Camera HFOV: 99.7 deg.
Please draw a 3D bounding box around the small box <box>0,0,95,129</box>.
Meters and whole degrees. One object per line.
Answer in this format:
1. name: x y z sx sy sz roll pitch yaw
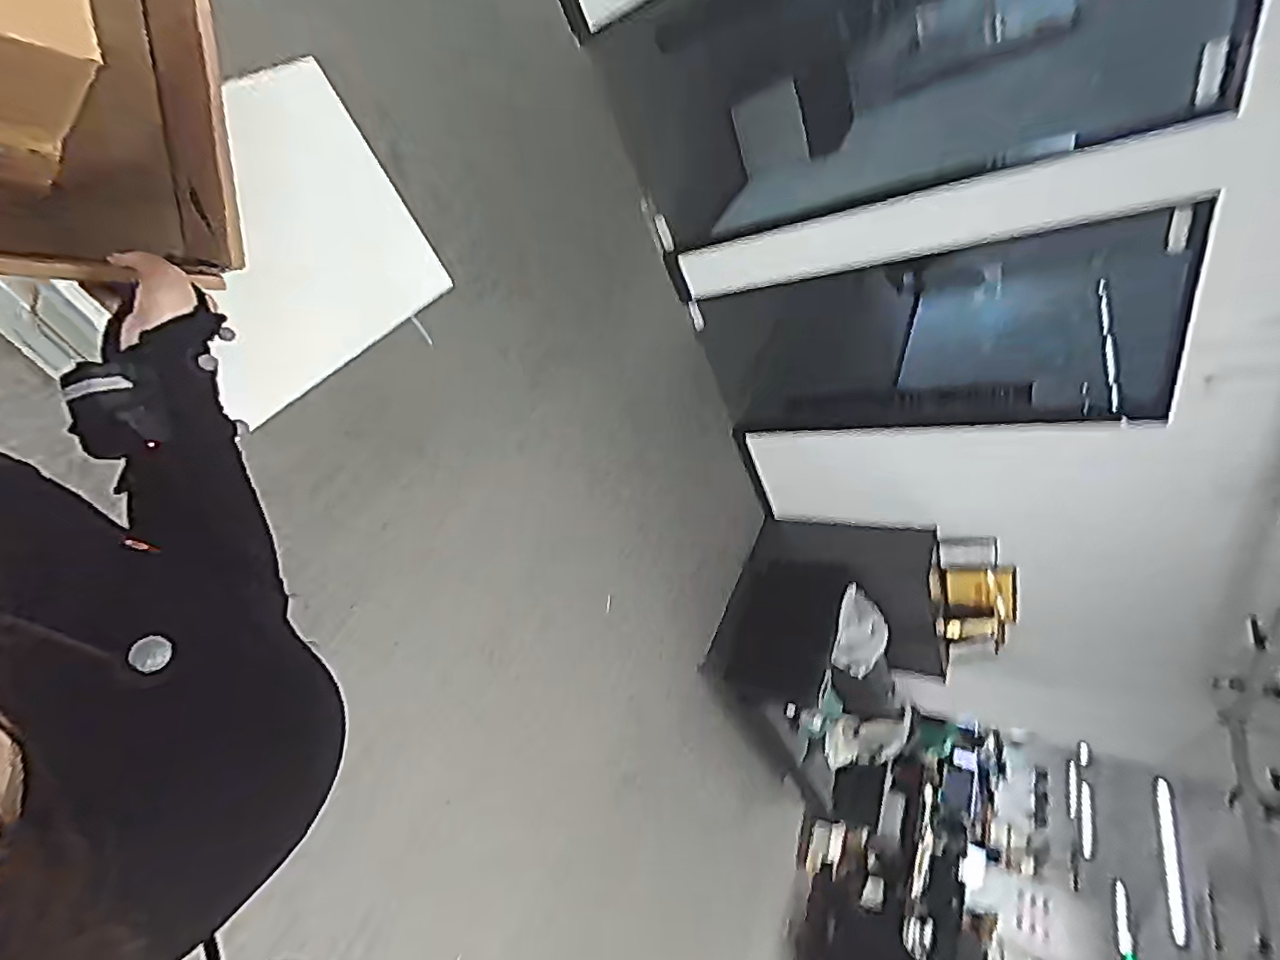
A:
1. small box: -0.395 -0.285 0.242 0.179 0.176 0.168 -19 113 -49
